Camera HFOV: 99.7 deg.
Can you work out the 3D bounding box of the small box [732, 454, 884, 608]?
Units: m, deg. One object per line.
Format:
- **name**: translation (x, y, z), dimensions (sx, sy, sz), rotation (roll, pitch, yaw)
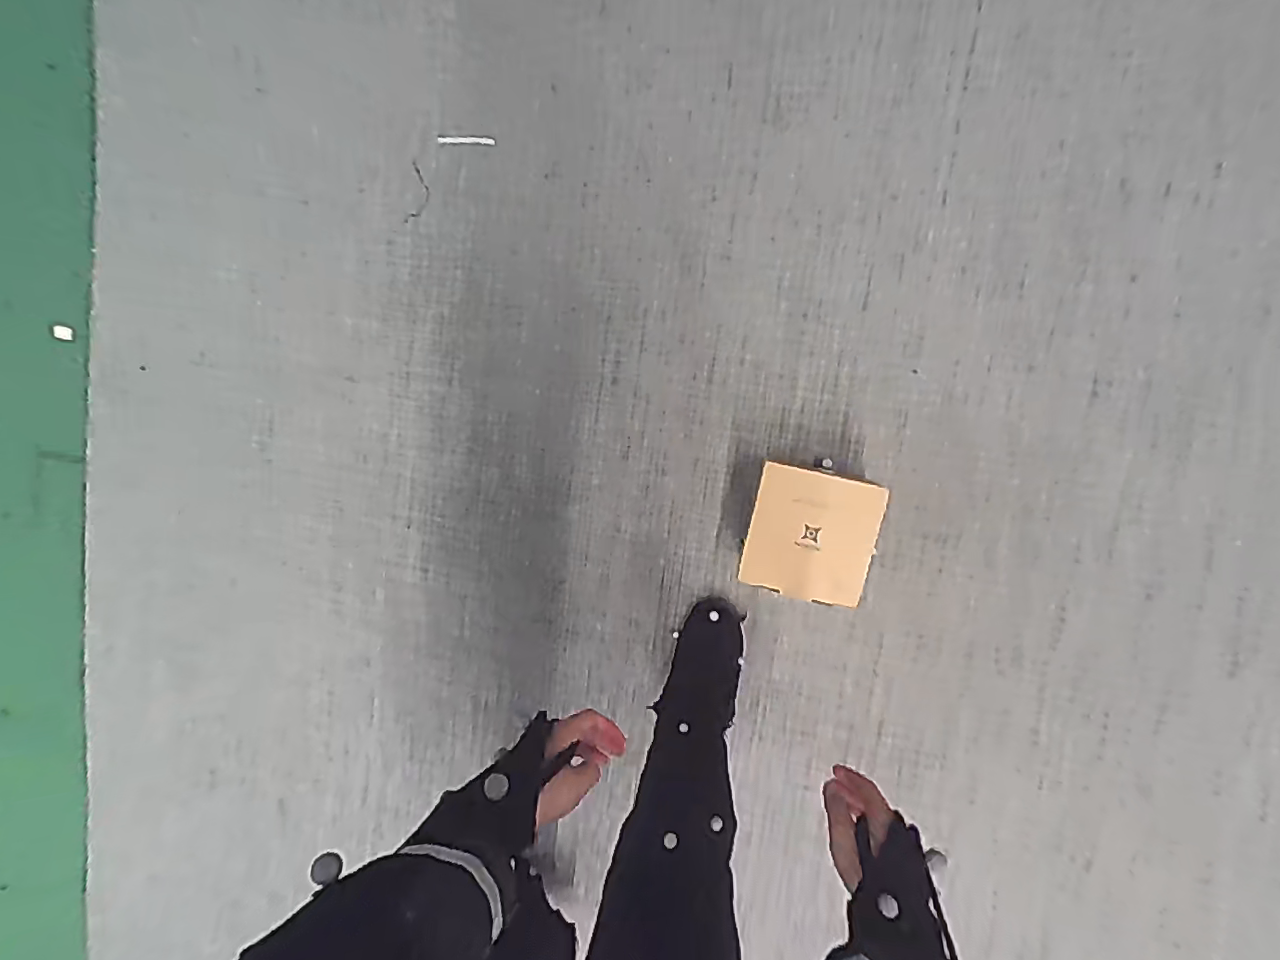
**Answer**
- **small box**: translation (0.241, 0.064, 0.808), dimensions (0.168, 0.176, 0.179), rotation (13, 97, 9)
